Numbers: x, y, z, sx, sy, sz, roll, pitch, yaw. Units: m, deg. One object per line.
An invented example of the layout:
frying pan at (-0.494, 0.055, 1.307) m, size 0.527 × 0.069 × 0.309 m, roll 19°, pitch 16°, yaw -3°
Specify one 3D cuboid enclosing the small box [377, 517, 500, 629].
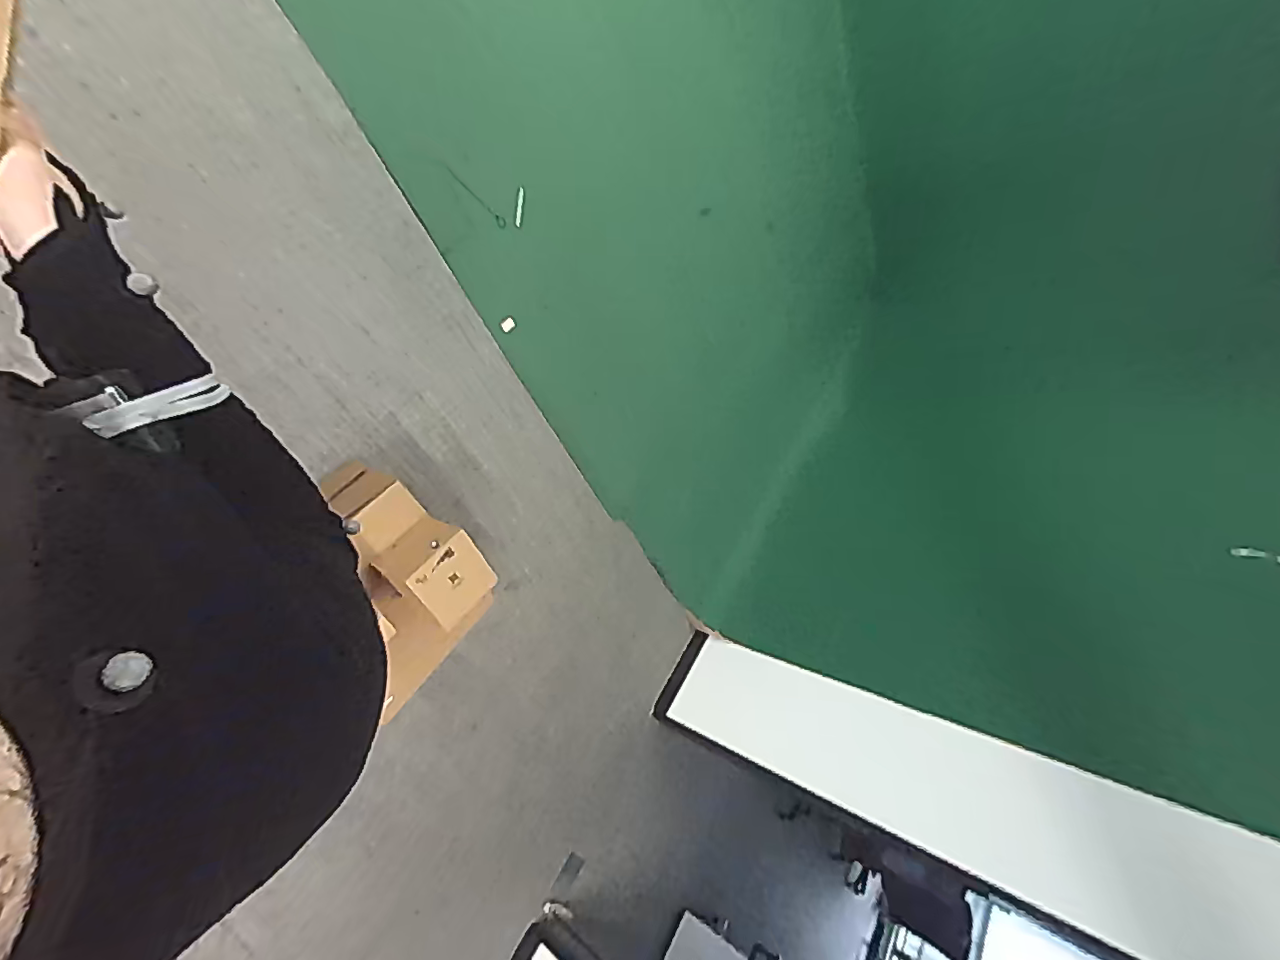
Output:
small box at (-0.466, 0.208, 1.254) m, size 0.168 × 0.176 × 0.179 m, roll -48°, pitch 132°, yaw -33°
